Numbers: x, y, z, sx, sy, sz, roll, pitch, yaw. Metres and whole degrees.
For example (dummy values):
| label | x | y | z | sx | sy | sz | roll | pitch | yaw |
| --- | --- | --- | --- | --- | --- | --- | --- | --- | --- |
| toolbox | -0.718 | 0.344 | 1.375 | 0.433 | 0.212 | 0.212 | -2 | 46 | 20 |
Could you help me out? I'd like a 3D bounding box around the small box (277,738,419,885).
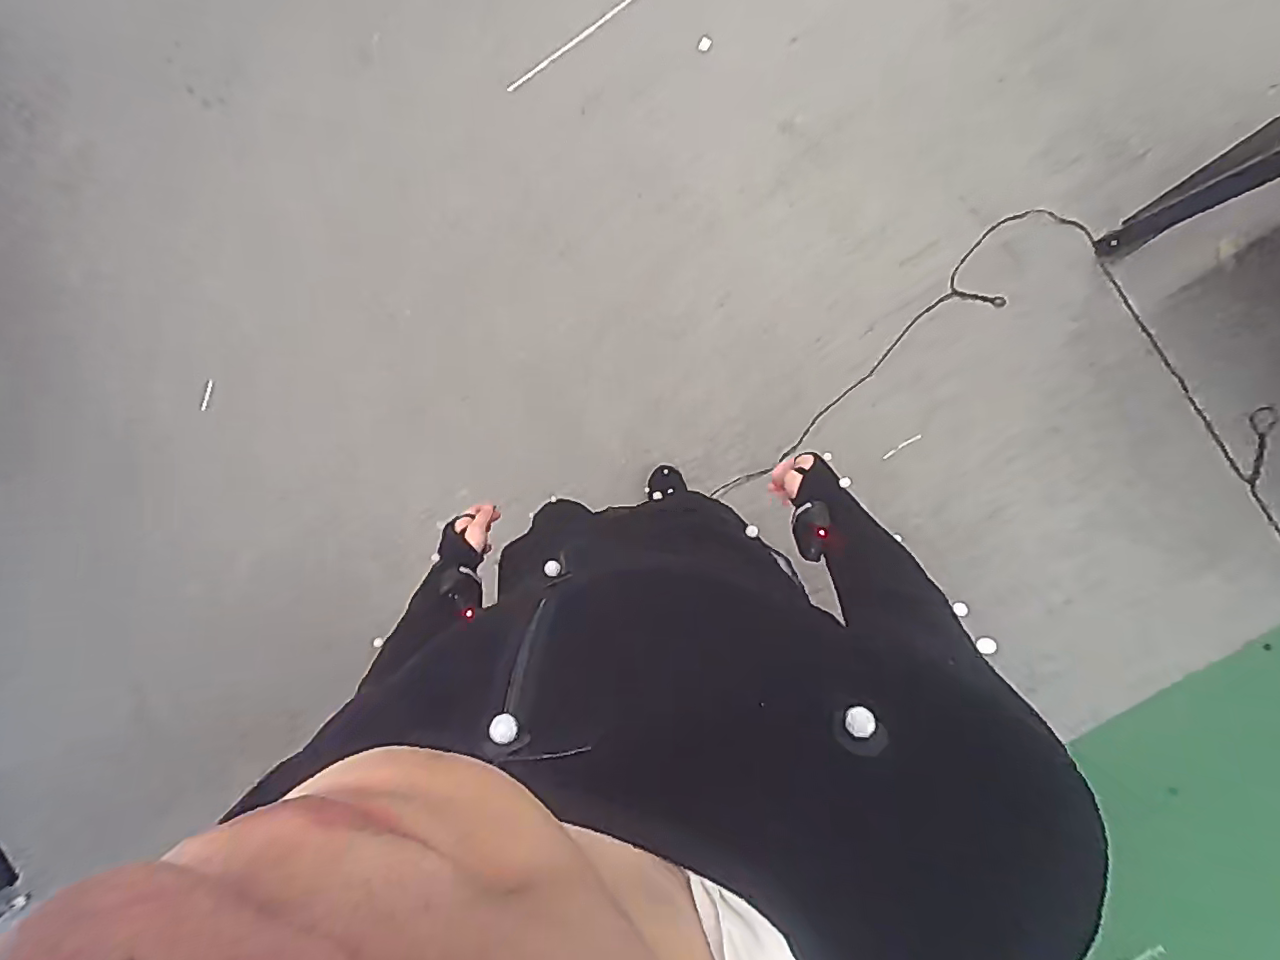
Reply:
| label | x | y | z | sx | sy | sz | roll | pitch | yaw |
| --- | --- | --- | --- | --- | --- | --- | --- | --- | --- |
| small box | -0.622 | 0.709 | 1.176 | 0.179 | 0.176 | 0.168 | -37 | 91 | 3 |
